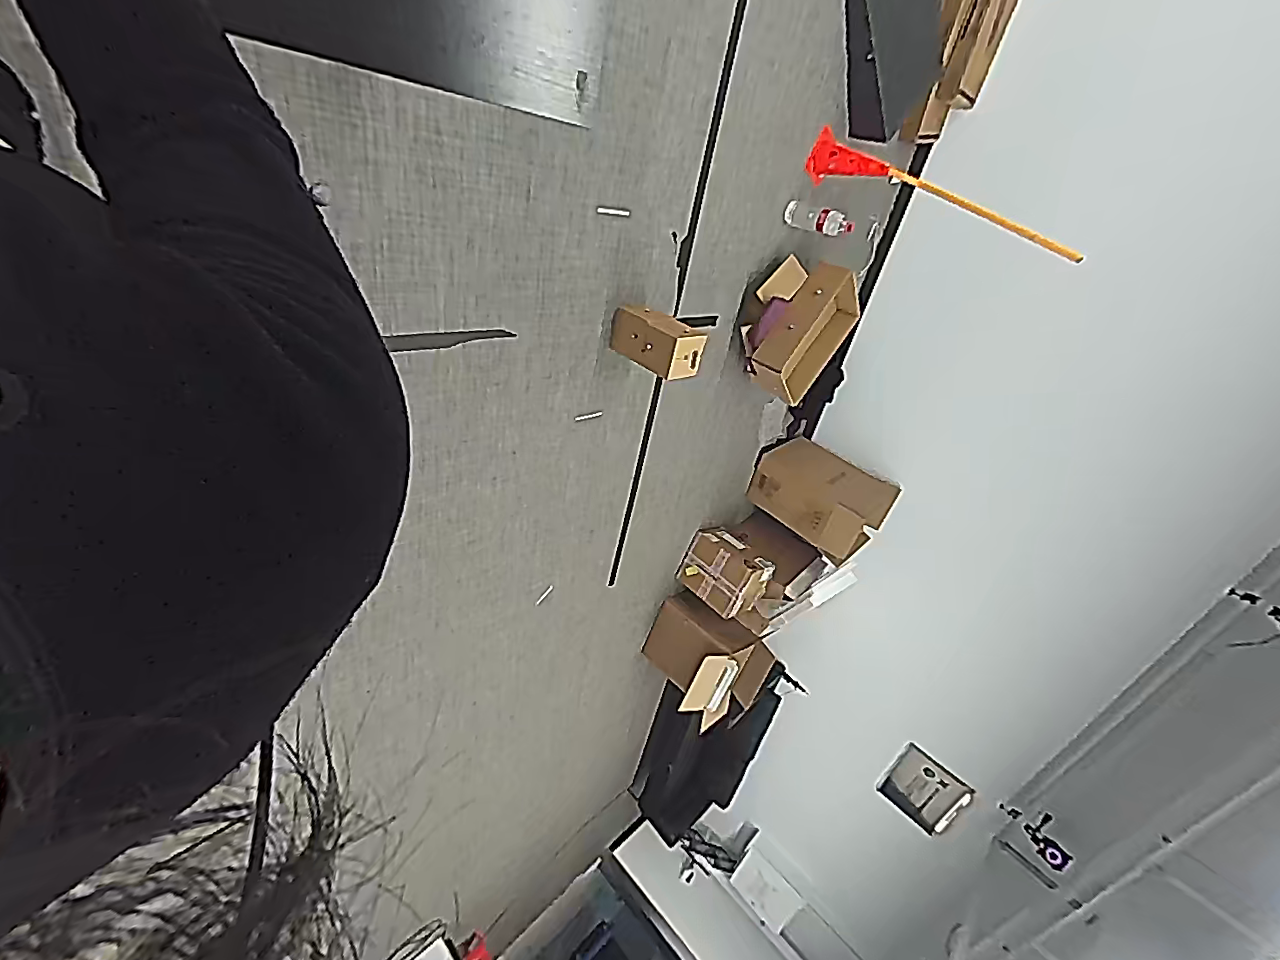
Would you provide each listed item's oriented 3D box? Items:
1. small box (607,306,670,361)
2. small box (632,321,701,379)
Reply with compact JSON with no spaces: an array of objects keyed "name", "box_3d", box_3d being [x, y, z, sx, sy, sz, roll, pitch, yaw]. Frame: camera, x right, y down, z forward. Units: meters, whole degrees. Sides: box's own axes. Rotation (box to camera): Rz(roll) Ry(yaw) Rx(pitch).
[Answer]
[{"name":"small box","box_3d":[-0.010,-0.587,2.152,0.168,0.176,0.179,-19,135,-43]},{"name":"small box","box_3d":[0.100,-0.502,2.064,0.179,0.176,0.168,-19,134,-43]}]
